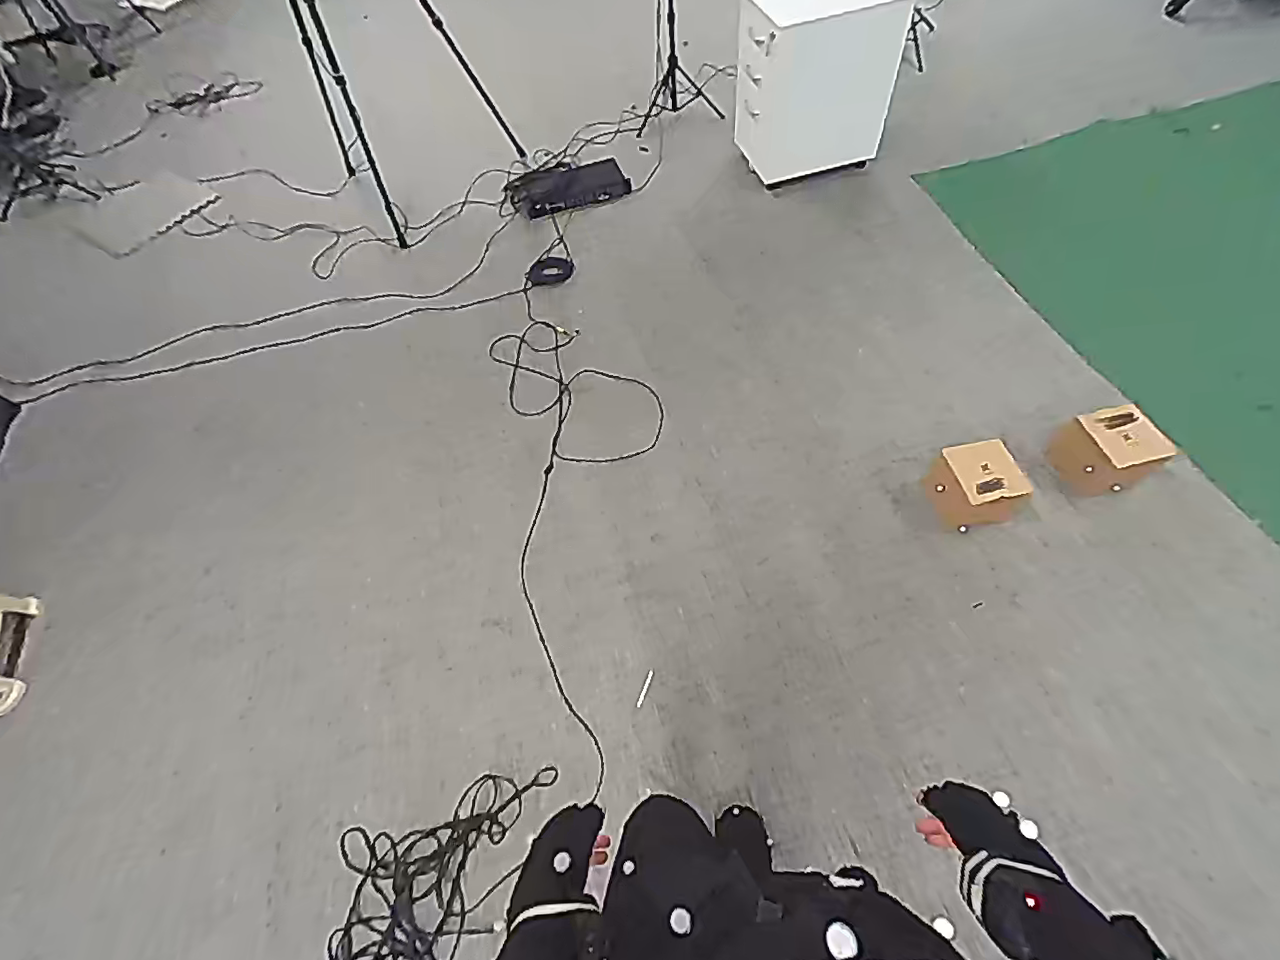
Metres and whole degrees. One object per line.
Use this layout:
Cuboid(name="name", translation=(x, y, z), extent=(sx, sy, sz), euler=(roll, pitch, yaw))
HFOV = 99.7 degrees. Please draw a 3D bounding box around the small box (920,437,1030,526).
Cuboid(name="small box", translation=(0.899, 0.012, 1.470), extent=(0.168, 0.176, 0.179), euler=(-11, 58, -1))
